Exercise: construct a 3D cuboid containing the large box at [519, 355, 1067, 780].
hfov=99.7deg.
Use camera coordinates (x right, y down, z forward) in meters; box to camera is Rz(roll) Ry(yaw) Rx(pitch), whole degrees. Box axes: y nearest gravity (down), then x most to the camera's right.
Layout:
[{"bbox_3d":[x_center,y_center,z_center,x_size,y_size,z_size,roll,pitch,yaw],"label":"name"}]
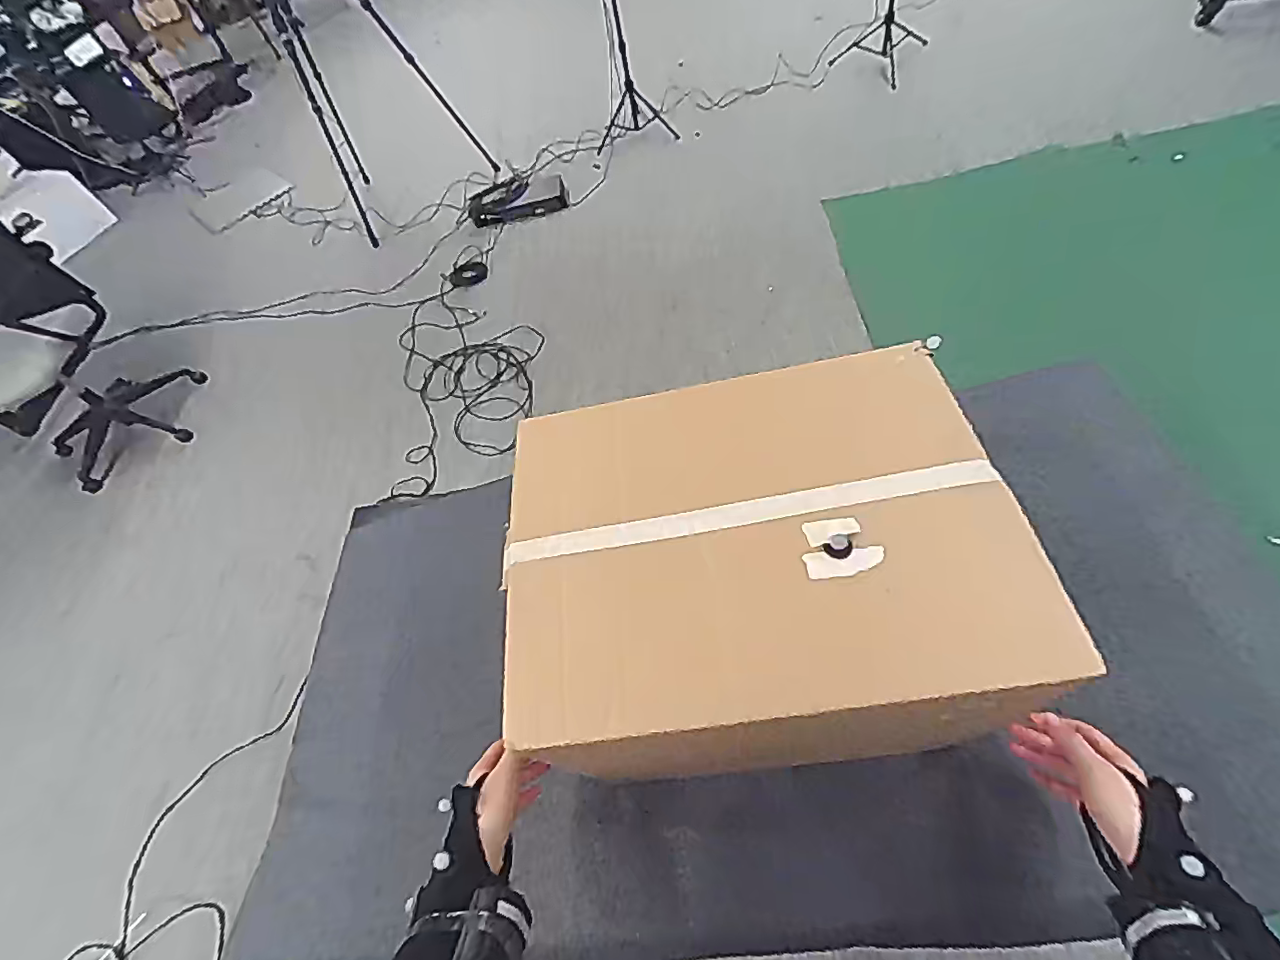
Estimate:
[{"bbox_3d":[0.112,0.118,0.592,0.408,0.320,0.320,-10,56,6],"label":"large box"}]
